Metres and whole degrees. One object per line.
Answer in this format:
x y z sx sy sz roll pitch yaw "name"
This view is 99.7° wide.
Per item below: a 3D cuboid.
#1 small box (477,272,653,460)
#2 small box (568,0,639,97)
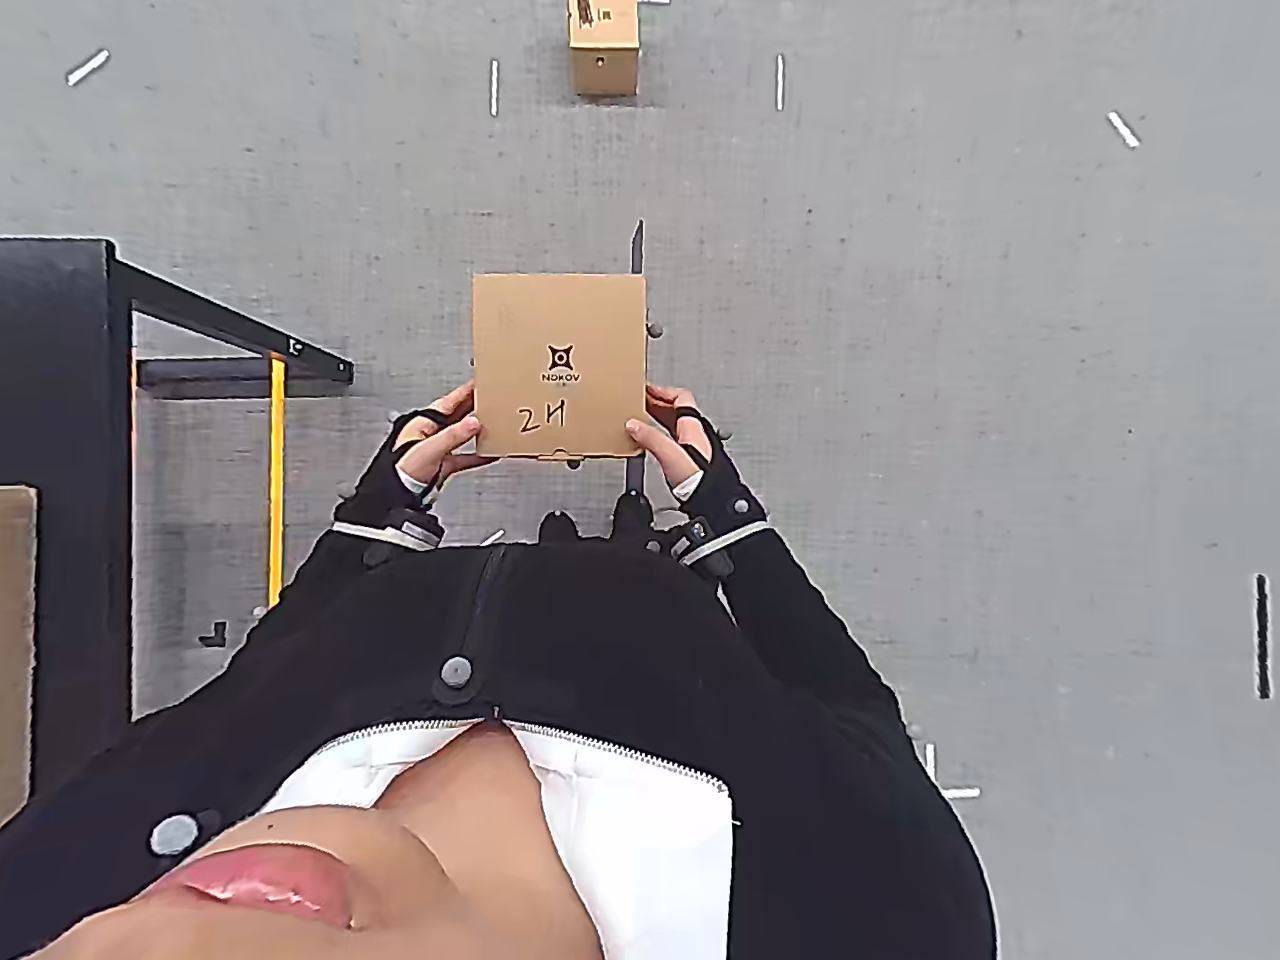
-0.072 -0.111 0.588 0.168 0.176 0.179 0 94 1 "small box"
-0.093 -1.146 1.425 0.179 0.176 0.168 -3 90 -3 "small box"
